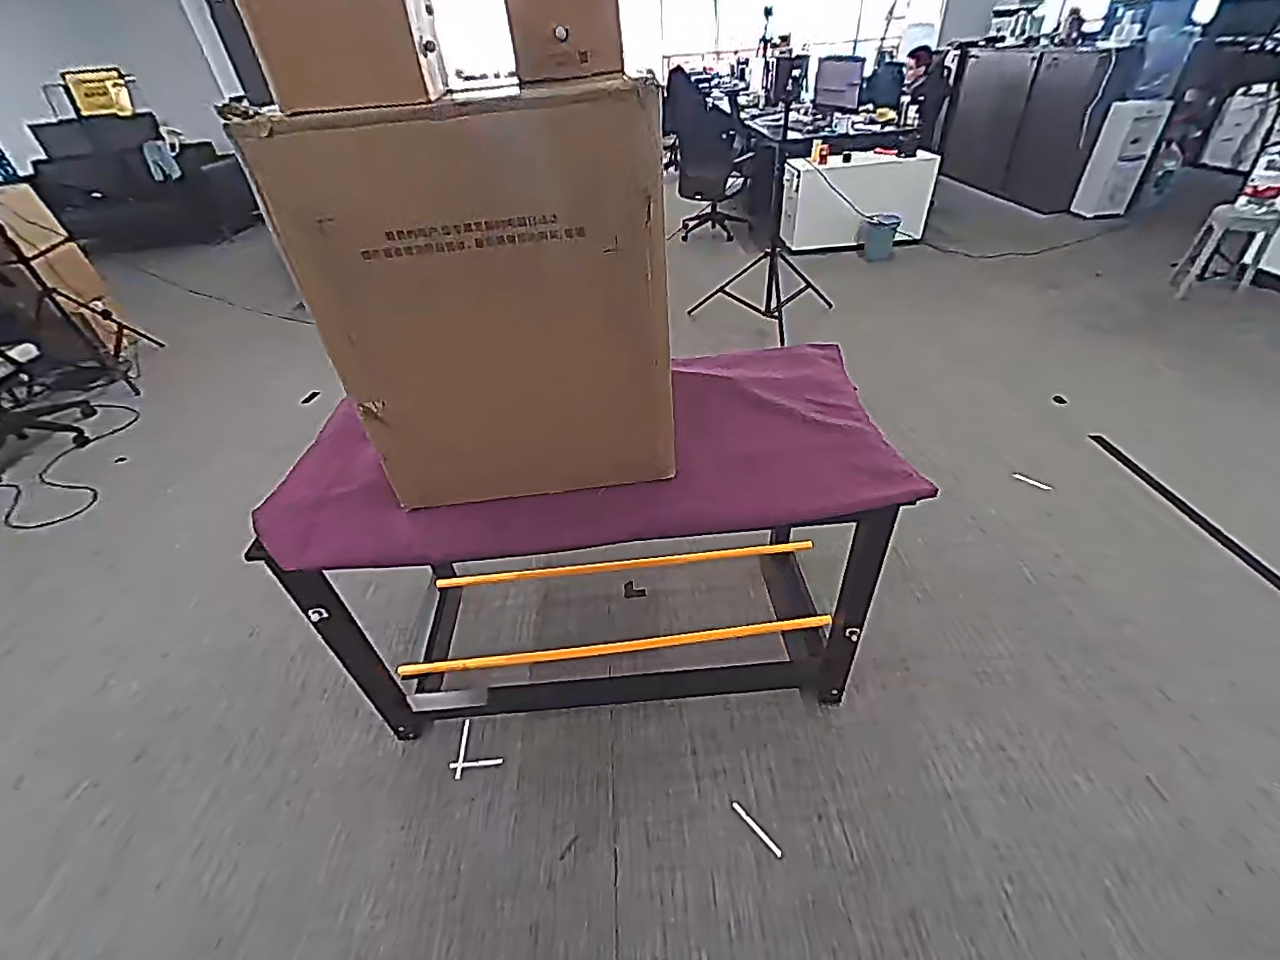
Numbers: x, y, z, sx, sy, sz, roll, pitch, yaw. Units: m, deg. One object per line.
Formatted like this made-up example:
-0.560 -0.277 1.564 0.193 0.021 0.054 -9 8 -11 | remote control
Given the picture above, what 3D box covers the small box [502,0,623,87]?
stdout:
-0.117 -0.714 0.829 0.168 0.176 0.179 -6 39 0 | small box
